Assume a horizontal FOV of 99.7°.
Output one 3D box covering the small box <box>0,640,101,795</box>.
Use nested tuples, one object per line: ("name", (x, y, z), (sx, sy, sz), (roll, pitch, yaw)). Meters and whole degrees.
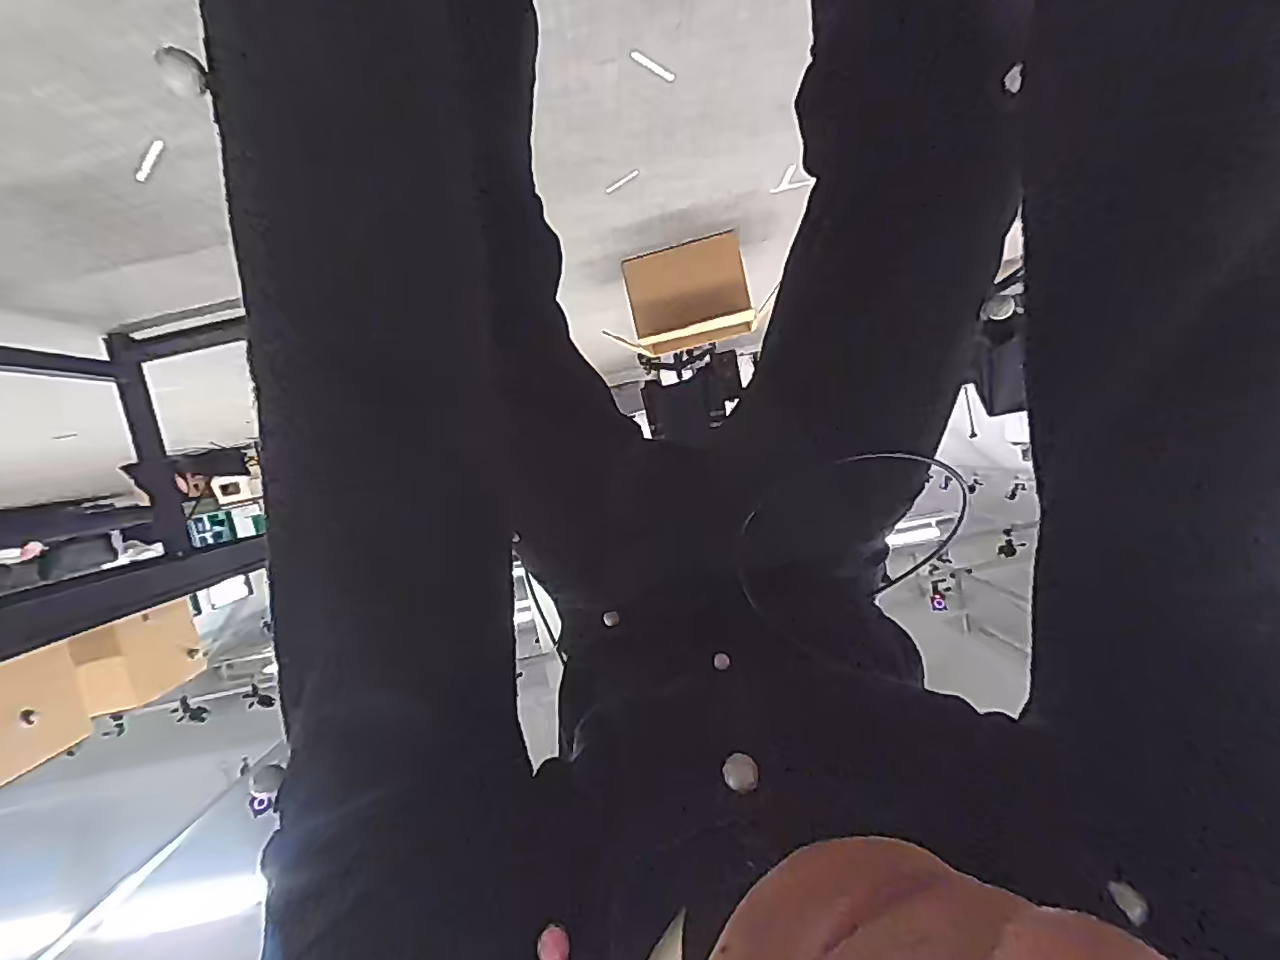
("small box", (-0.949, 0.350, 0.765), (0.168, 0.176, 0.179), (-12, -174, -1))
